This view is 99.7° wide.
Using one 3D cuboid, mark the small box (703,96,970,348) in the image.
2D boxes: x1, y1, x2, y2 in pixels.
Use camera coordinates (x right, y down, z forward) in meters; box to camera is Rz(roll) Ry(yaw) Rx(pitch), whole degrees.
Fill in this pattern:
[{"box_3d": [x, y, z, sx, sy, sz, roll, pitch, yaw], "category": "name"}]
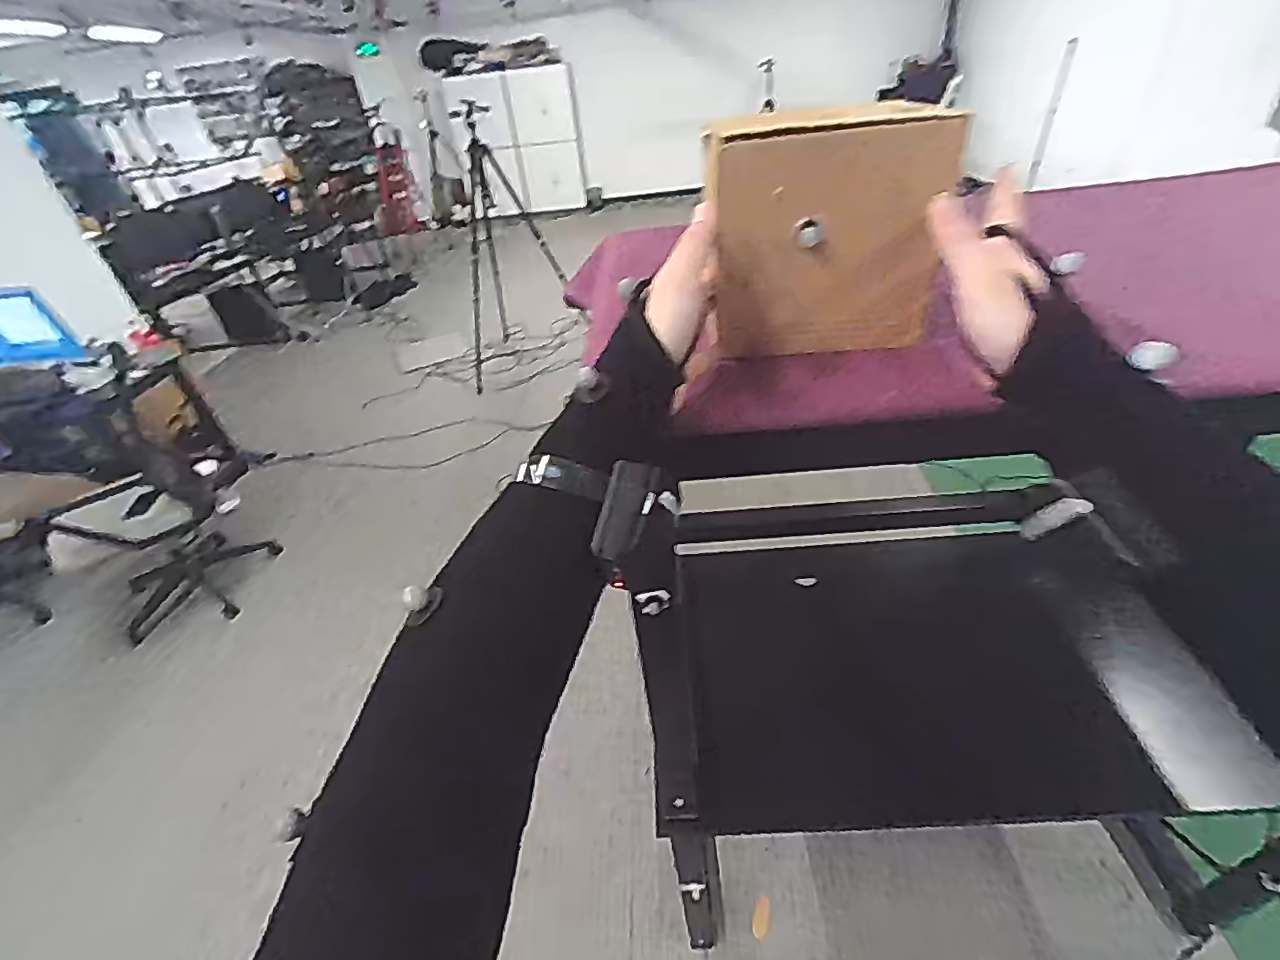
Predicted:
[{"box_3d": [0.151, -0.227, 0.481, 0.179, 0.176, 0.168, -3, 38, 6], "category": "small box"}]
